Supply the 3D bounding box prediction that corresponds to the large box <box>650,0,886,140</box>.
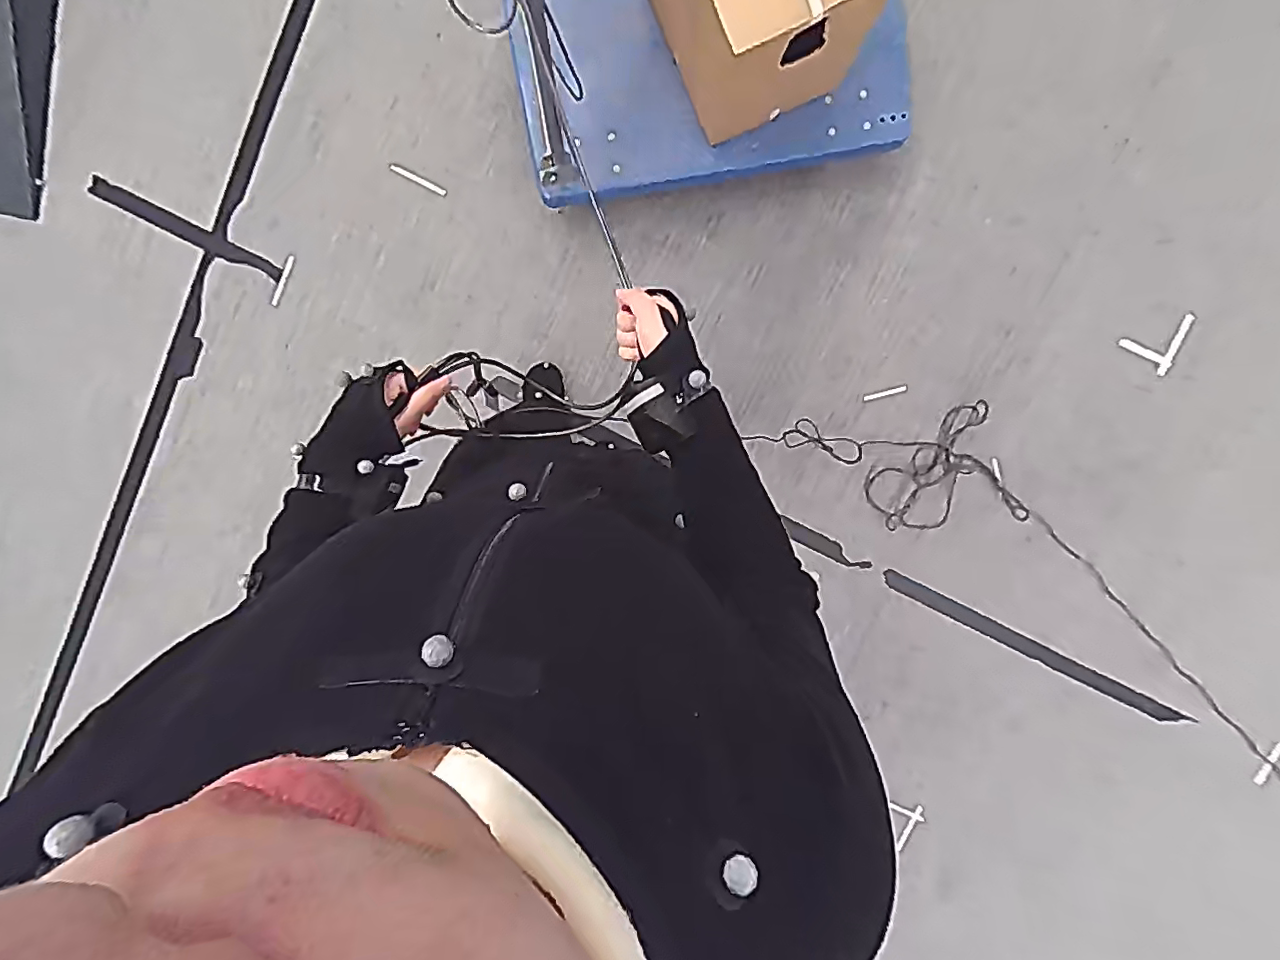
[{"bbox_3d":[0.217,-0.985,1.048,0.320,0.320,0.408,-24,97,3],"label":"large box"}]
